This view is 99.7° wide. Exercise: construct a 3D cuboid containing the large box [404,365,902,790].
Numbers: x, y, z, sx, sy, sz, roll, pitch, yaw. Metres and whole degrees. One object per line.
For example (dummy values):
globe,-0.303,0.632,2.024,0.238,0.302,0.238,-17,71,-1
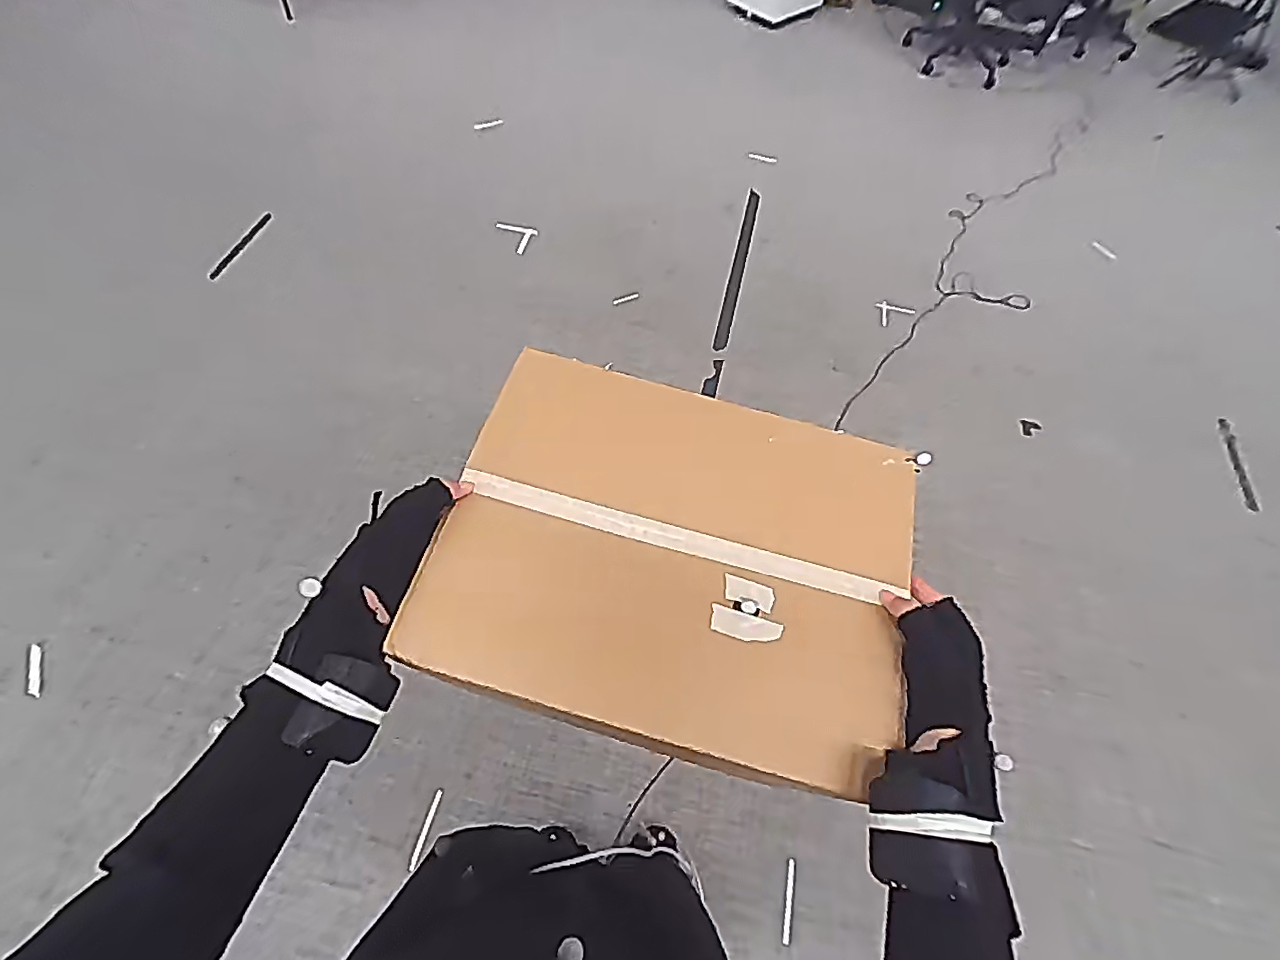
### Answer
large box,0.023,0.124,0.619,0.408,0.320,0.320,16,64,2
